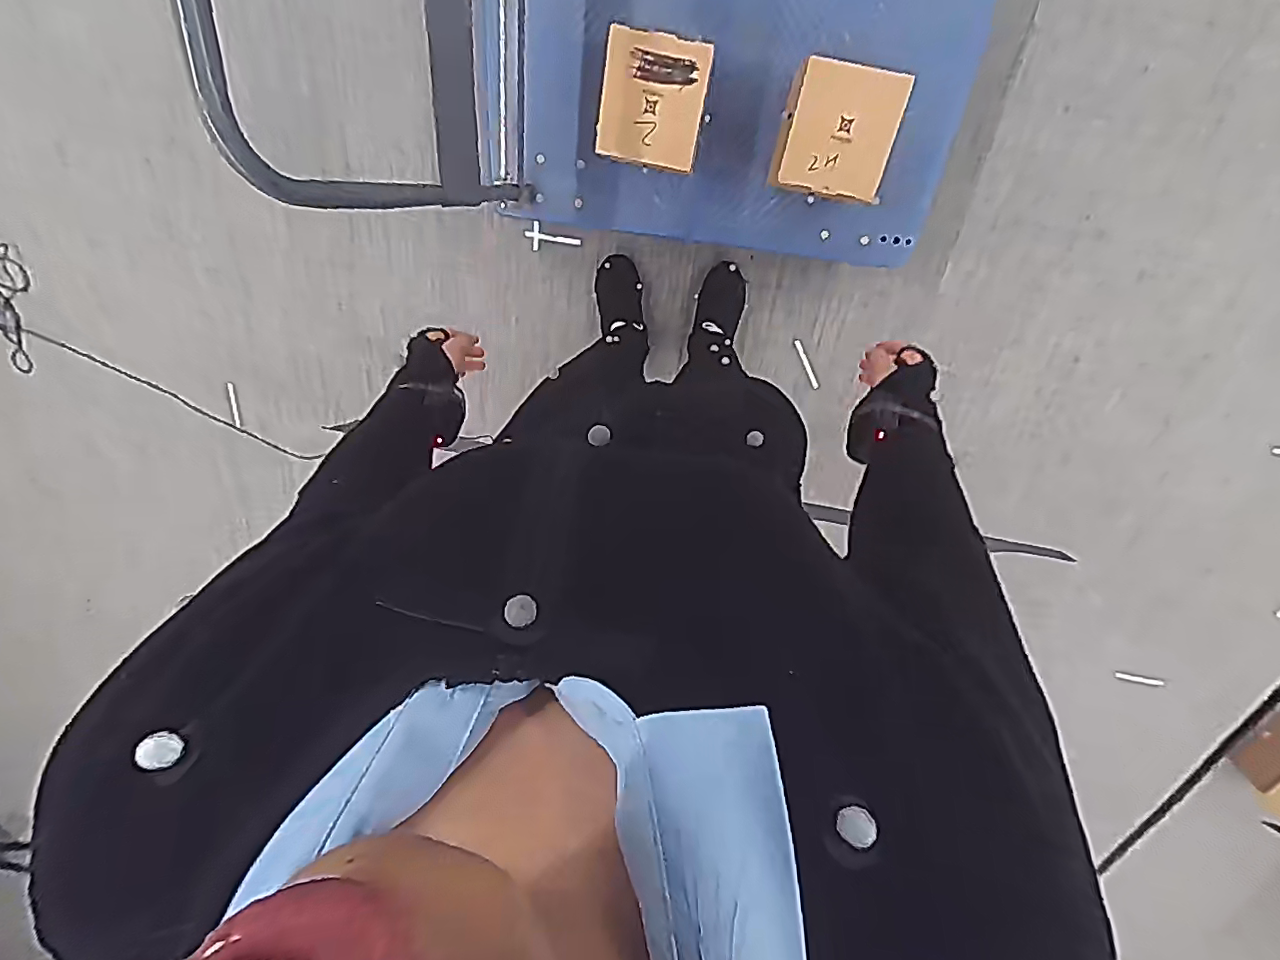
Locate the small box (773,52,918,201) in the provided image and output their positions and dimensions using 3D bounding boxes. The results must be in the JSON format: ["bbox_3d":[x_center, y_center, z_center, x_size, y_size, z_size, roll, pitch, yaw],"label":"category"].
[{"bbox_3d":[0.336,-0.593,0.929,0.168,0.176,0.179,12,118,0],"label":"small box"}]

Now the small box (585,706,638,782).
[{"bbox_3d":[-0.103,0.971,1.995,0.168,0.176,0.179,8,117,2],"label":"small box"}]
